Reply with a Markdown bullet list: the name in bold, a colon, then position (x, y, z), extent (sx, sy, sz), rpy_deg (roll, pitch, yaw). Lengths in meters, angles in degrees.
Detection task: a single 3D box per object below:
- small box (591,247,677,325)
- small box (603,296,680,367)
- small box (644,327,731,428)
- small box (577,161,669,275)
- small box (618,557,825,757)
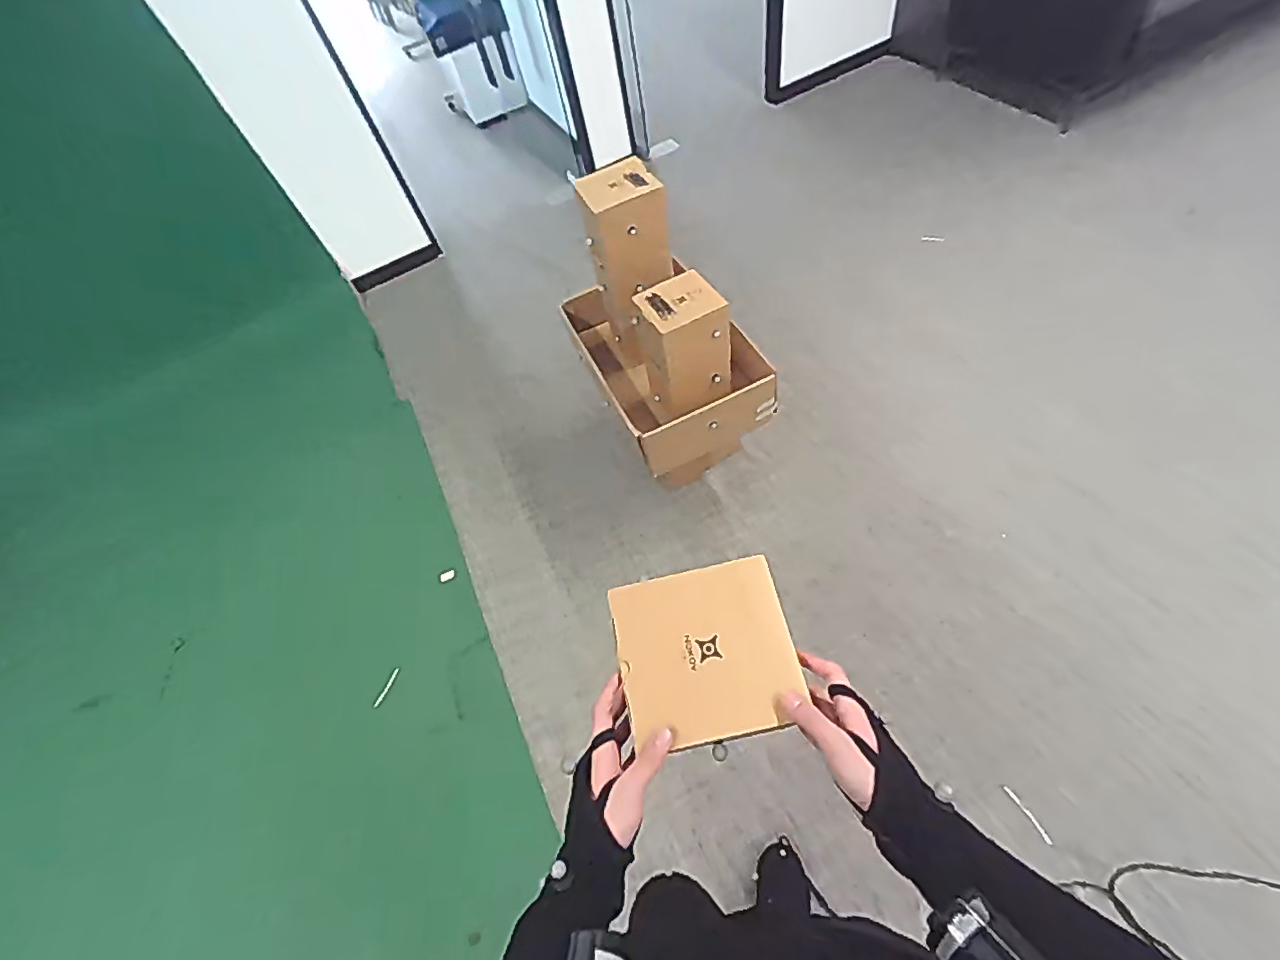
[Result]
- **small box**: position (-0.013, -0.556, 1.478), extent (0.179, 0.176, 0.168), rpy_deg (-24, 58, -5)
- **small box**: position (0.011, -0.465, 1.612), extent (0.179, 0.176, 0.168), rpy_deg (-22, 57, -6)
- **small box**: position (0.131, -0.273, 1.459), extent (0.179, 0.176, 0.168), rpy_deg (-26, 55, -7)
- **small box**: position (-0.035, -0.645, 1.341), extent (0.179, 0.176, 0.168), rpy_deg (-24, 57, -6)
- **small box**: position (0.082, 0.203, 0.609), extent (0.179, 0.176, 0.168), rpy_deg (-13, 63, 1)
